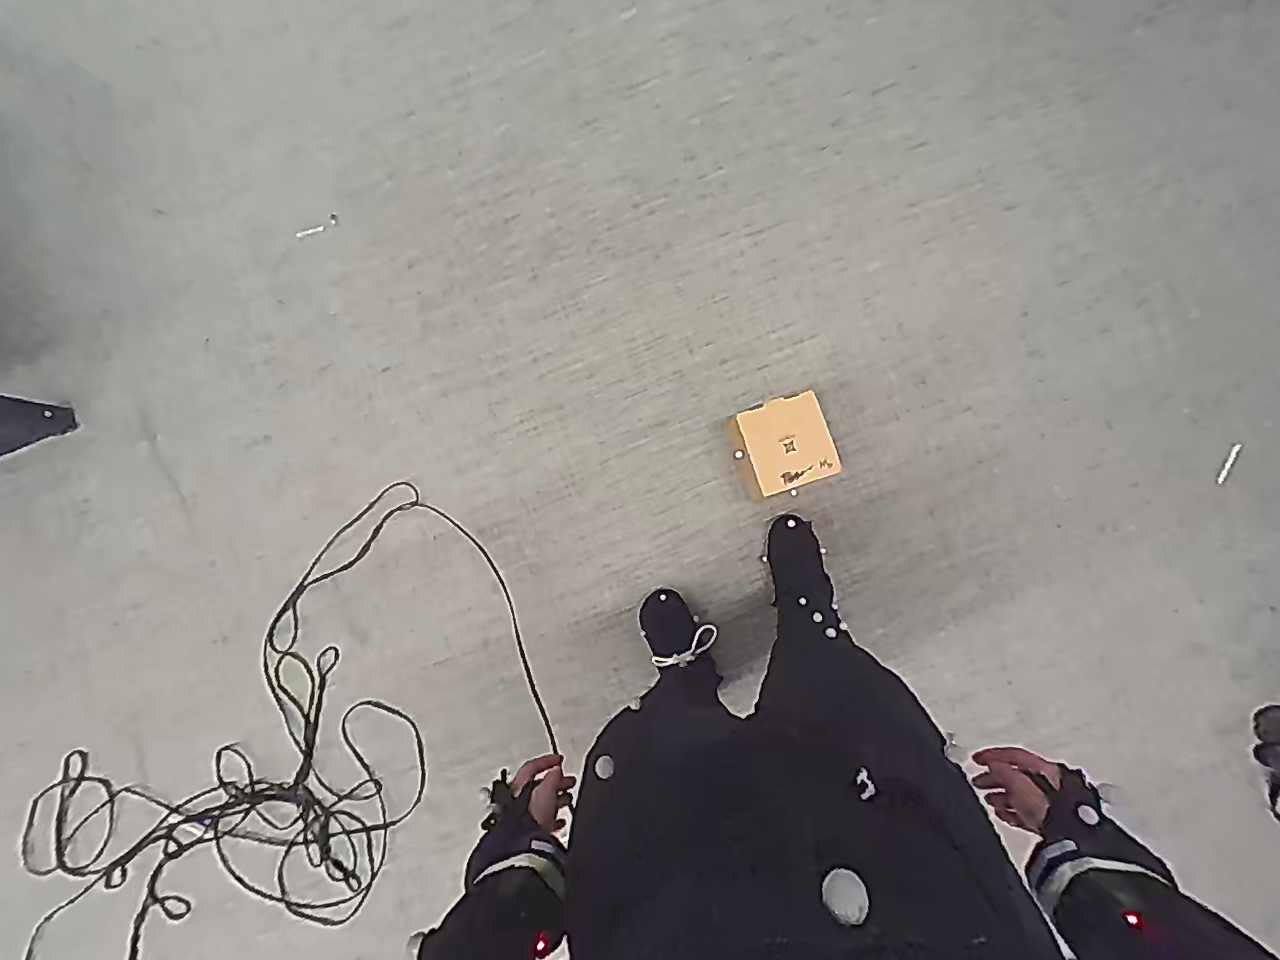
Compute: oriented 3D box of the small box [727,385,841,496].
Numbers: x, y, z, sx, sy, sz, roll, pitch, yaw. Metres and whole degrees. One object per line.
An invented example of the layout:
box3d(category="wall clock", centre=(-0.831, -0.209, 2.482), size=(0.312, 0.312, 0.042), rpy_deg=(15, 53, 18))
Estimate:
box3d(category="small box", centre=(0.292, -0.076, 1.139), size=(0.168, 0.176, 0.179), rpy_deg=(-18, 84, 1))
